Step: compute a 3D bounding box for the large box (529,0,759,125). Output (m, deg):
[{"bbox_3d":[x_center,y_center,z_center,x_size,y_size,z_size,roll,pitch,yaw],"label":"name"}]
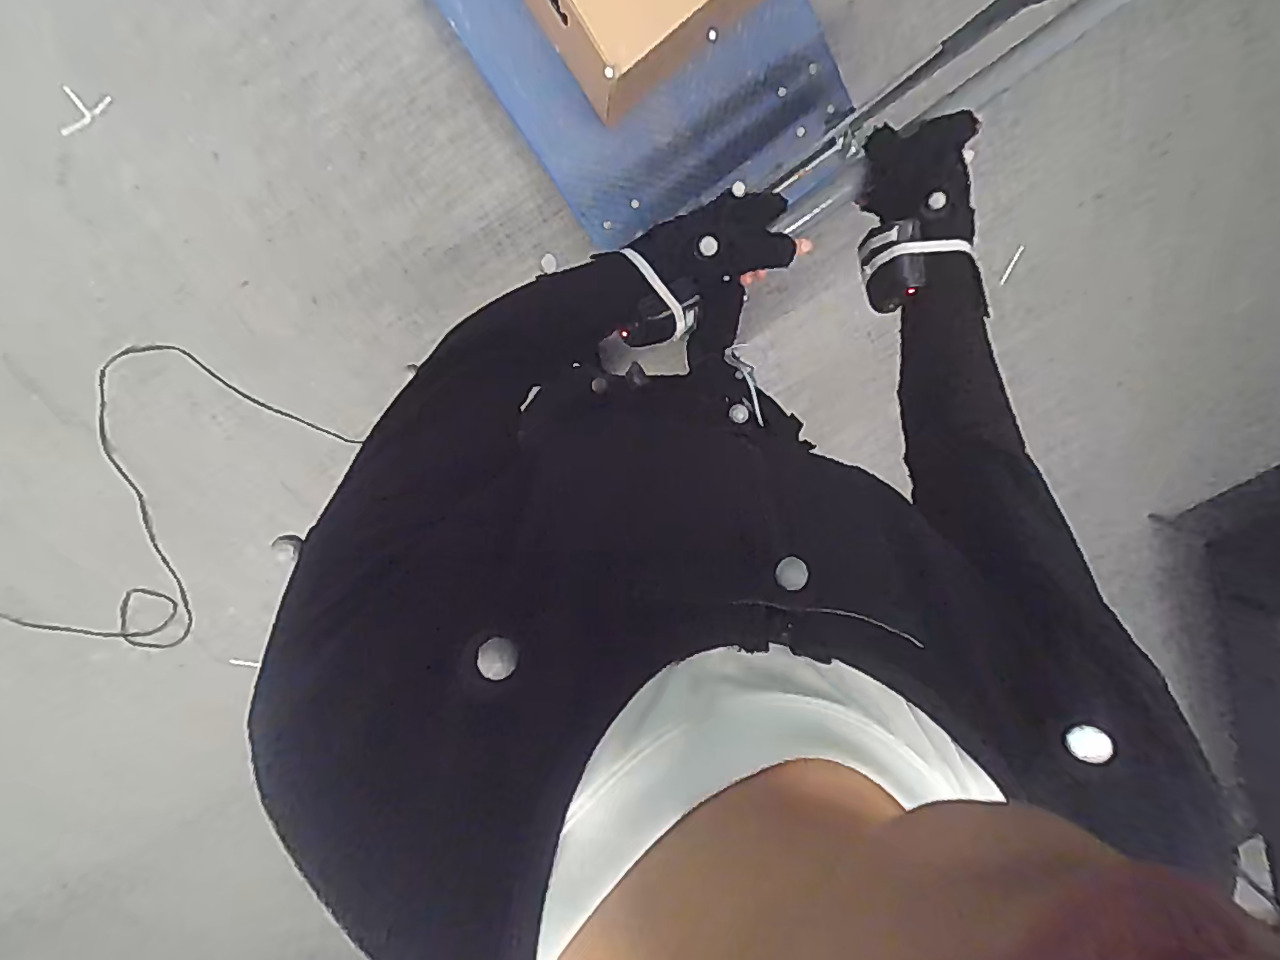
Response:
[{"bbox_3d":[0.023,-0.865,0.851,0.408,0.320,0.320,-35,109,10],"label":"large box"}]
